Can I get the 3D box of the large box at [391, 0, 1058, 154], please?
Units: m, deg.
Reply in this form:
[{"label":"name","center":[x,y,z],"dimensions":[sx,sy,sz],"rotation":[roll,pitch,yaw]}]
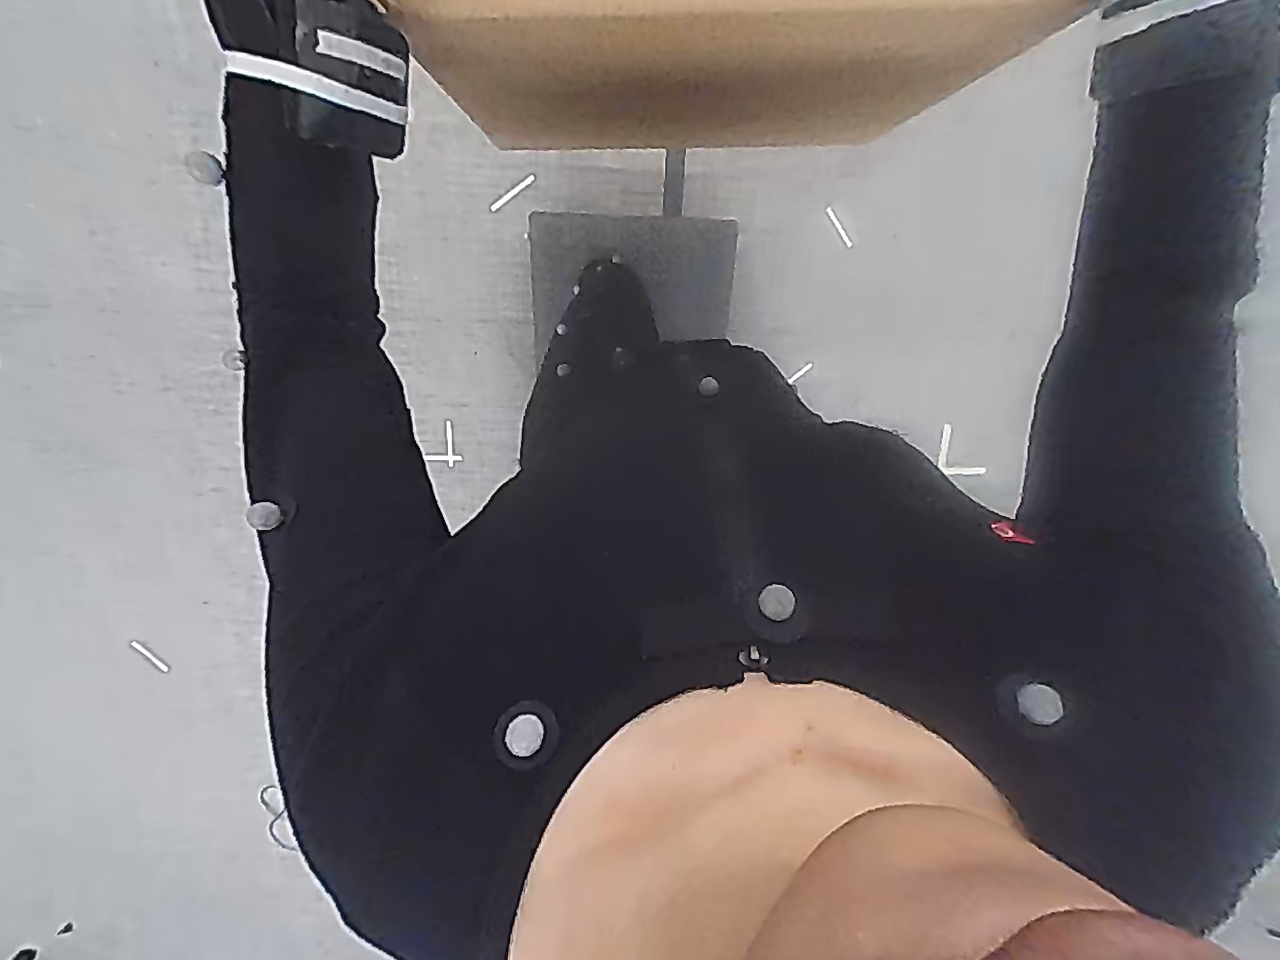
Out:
[{"label":"large box","center":[0.044,-0.459,0.399],"dimensions":[0.408,0.320,0.320],"rotation":[-2,110,-1]}]
